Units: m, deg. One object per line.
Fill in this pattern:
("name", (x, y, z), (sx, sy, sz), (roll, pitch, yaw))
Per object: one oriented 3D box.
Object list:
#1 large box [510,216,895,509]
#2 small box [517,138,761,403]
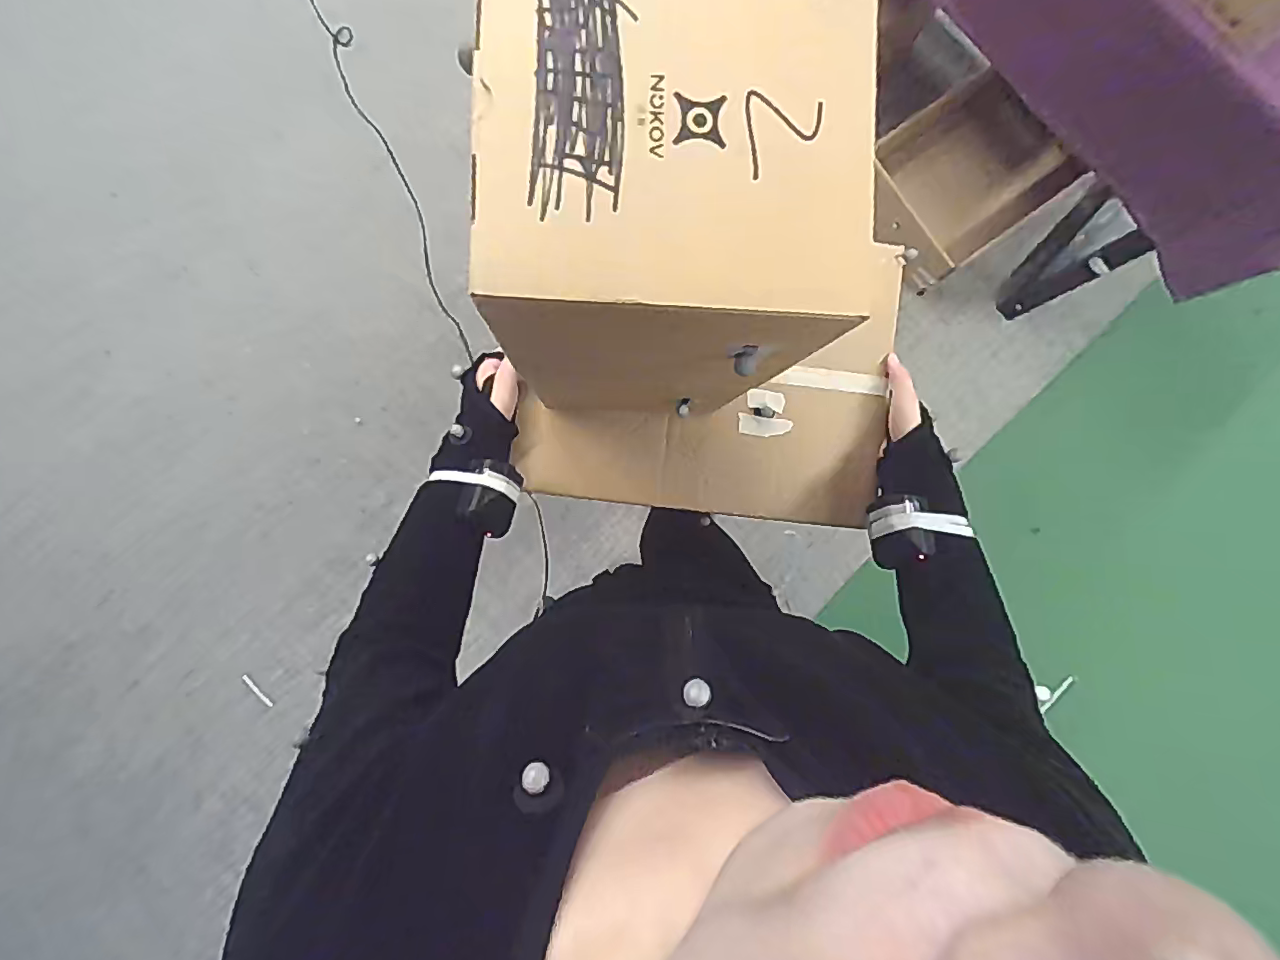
("large box", (0.058, -0.138, 0.727), (0.408, 0.320, 0.320), (6, 91, -5))
("small box", (-0.006, -0.163, 0.477), (0.179, 0.176, 0.168), (2, 90, -4))
